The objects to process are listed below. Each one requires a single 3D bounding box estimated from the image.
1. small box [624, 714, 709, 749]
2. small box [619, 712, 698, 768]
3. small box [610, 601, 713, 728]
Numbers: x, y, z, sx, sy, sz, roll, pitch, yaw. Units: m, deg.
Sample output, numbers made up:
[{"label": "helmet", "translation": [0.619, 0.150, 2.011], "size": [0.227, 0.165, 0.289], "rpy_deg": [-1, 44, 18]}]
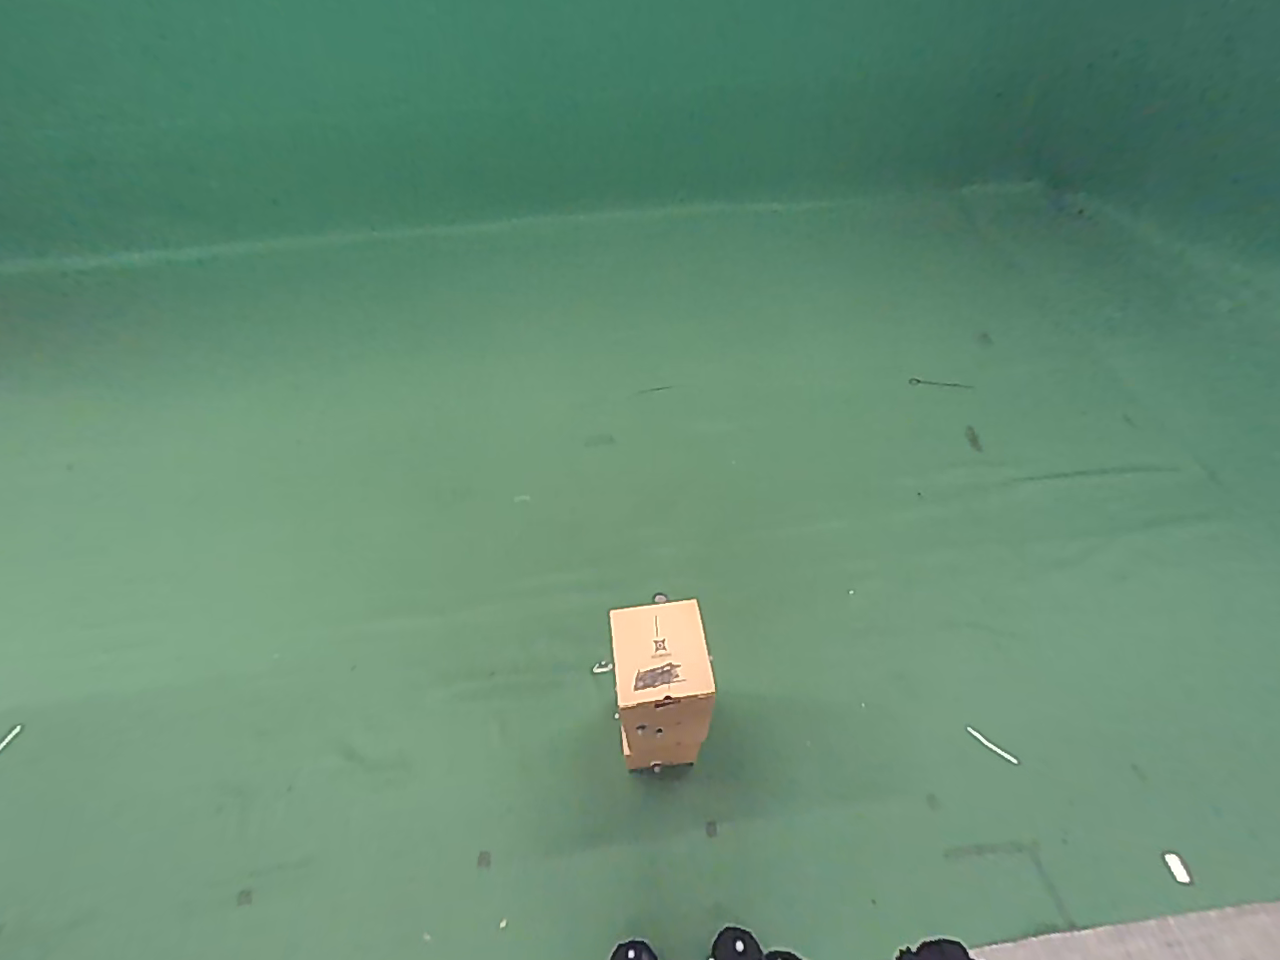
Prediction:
[{"label": "small box", "translation": [0.044, 0.451, 1.138], "size": [0.168, 0.176, 0.179], "rpy_deg": [-7, 51, -3]}, {"label": "small box", "translation": [0.038, 0.547, 1.247], "size": [0.168, 0.176, 0.179], "rpy_deg": [-5, 52, 0]}, {"label": "small box", "translation": [0.037, 0.349, 1.009], "size": [0.168, 0.176, 0.179], "rpy_deg": [-6, 51, -3]}]
